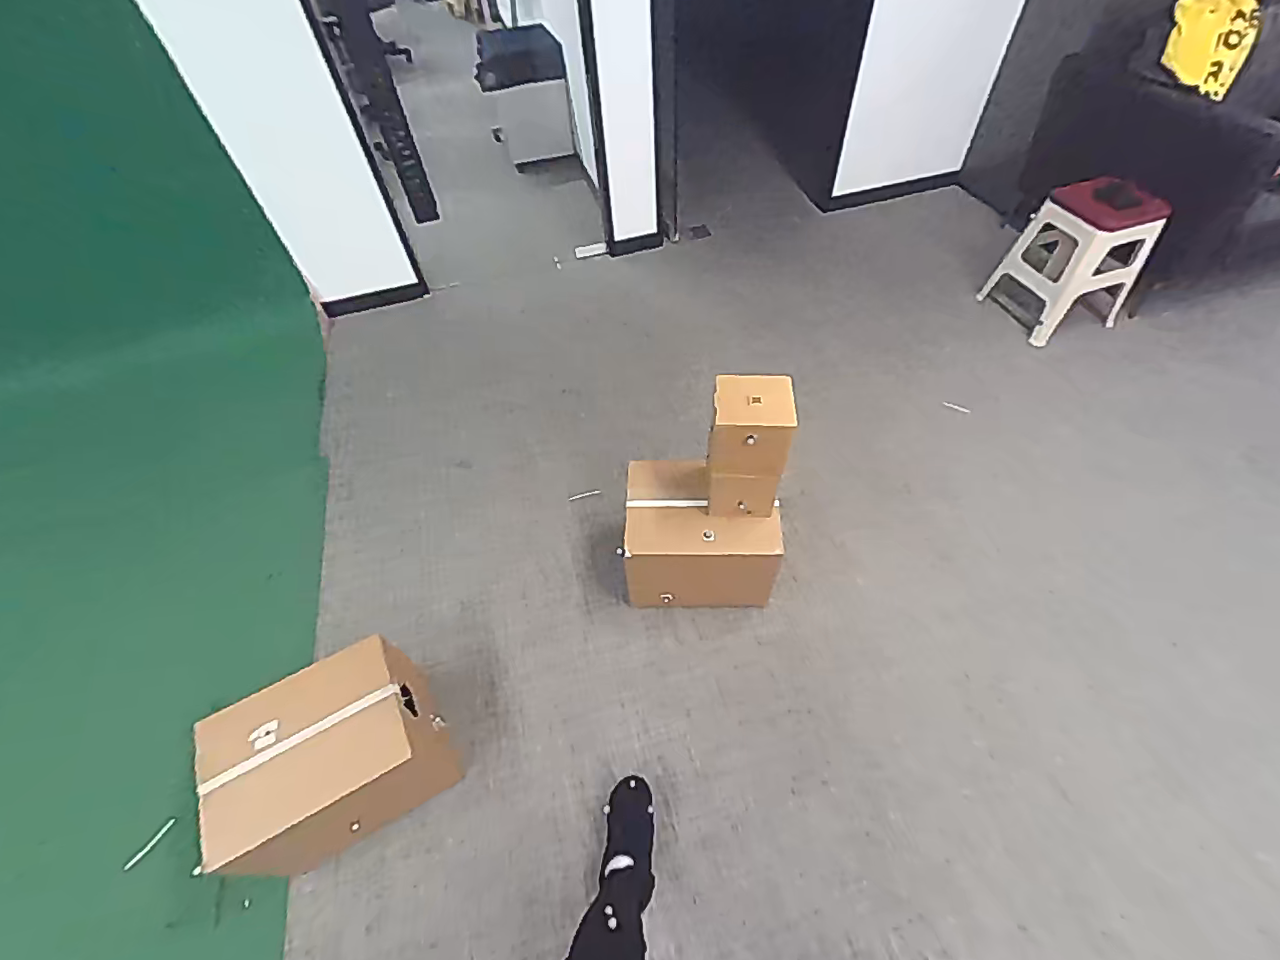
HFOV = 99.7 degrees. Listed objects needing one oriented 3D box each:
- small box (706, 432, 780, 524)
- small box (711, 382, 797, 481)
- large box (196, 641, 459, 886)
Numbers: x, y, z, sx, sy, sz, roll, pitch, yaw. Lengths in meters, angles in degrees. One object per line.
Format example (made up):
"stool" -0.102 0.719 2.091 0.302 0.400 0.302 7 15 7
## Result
"small box" 0.258 -0.007 1.391 0.168 0.176 0.179 0 50 4
"small box" 0.258 -0.110 1.265 0.179 0.176 0.168 1 50 6
"large box" -0.696 0.650 1.247 0.408 0.320 0.320 -26 54 -15
